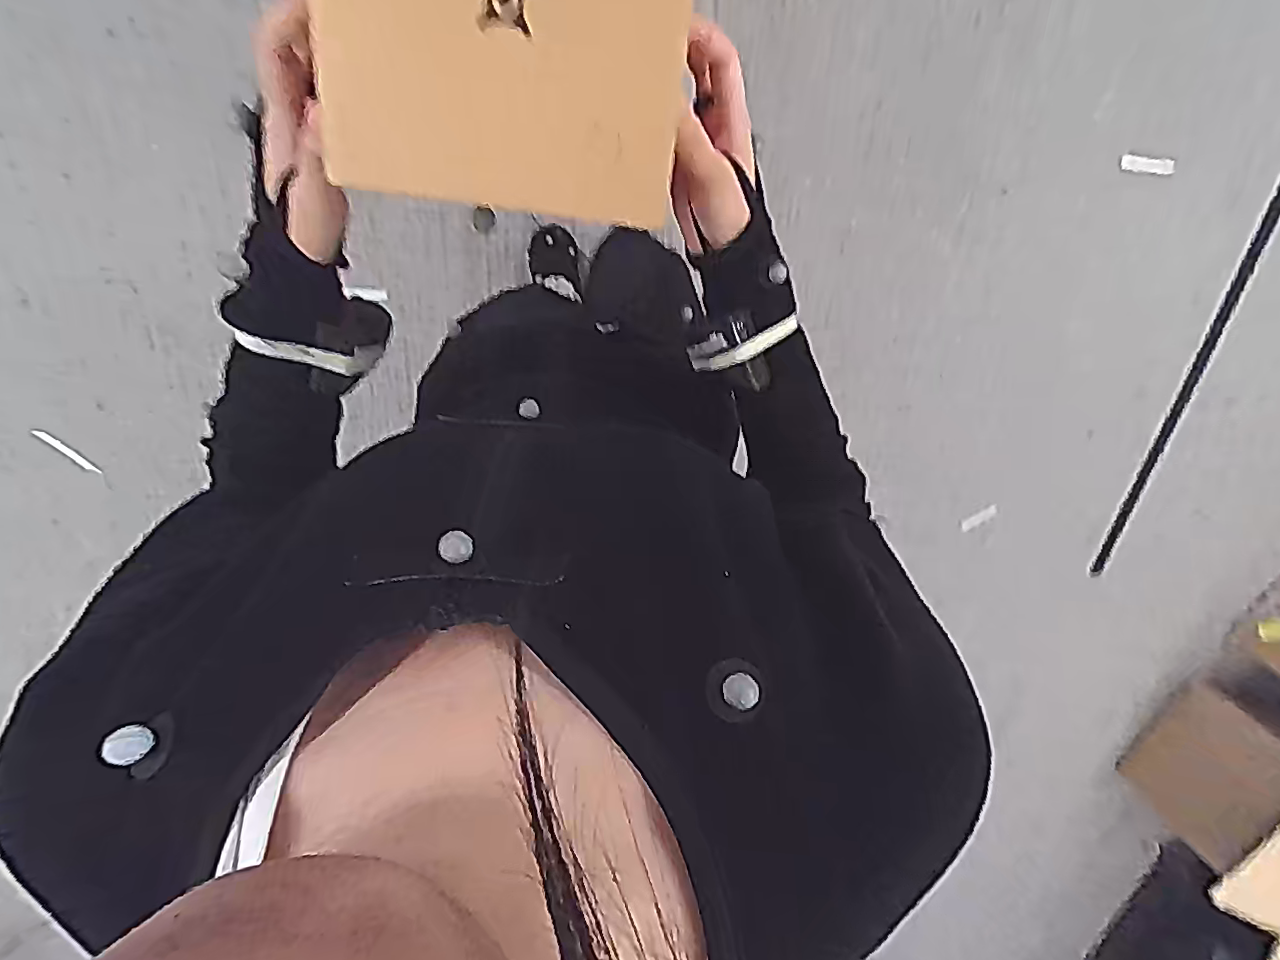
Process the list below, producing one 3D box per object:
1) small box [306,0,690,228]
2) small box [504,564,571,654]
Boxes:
[{"bbox_3d":[-0.064,-0.247,0.302,0.168,0.176,0.179,5,114,-8],"label":"small box"},{"bbox_3d":[-0.269,0.337,1.435,0.168,0.176,0.179,1,115,-7],"label":"small box"}]
